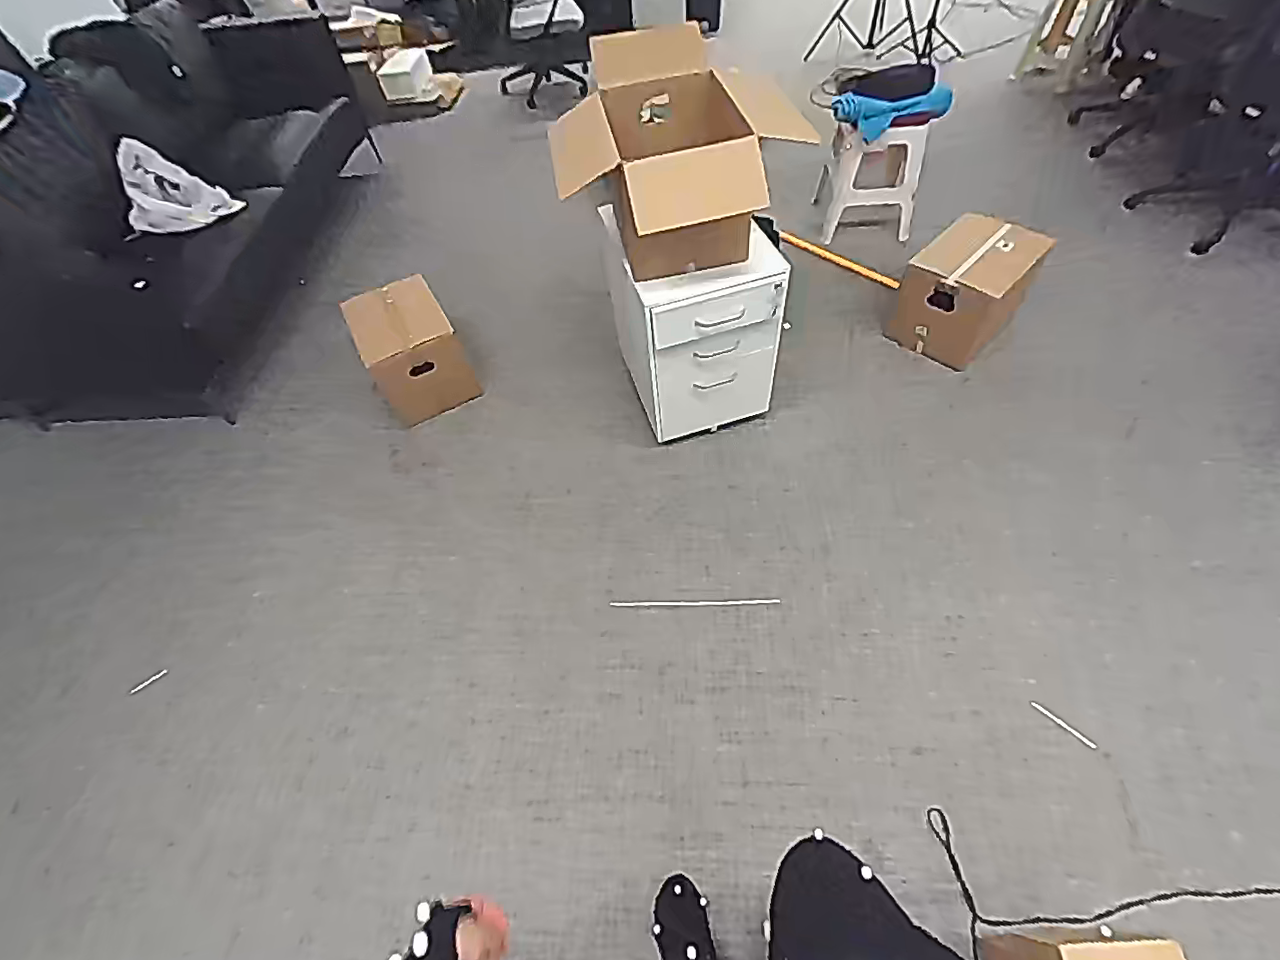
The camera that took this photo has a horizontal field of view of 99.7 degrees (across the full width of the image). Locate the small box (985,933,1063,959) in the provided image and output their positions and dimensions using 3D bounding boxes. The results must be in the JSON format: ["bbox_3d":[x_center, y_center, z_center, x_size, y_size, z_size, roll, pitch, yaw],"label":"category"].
[{"bbox_3d":[0.746,0.916,0.949,0.179,0.176,0.168,-8,54,1],"label":"small box"}]

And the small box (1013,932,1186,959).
[{"bbox_3d":[0.725,0.807,0.827,0.179,0.176,0.168,-6,54,4],"label":"small box"}]
